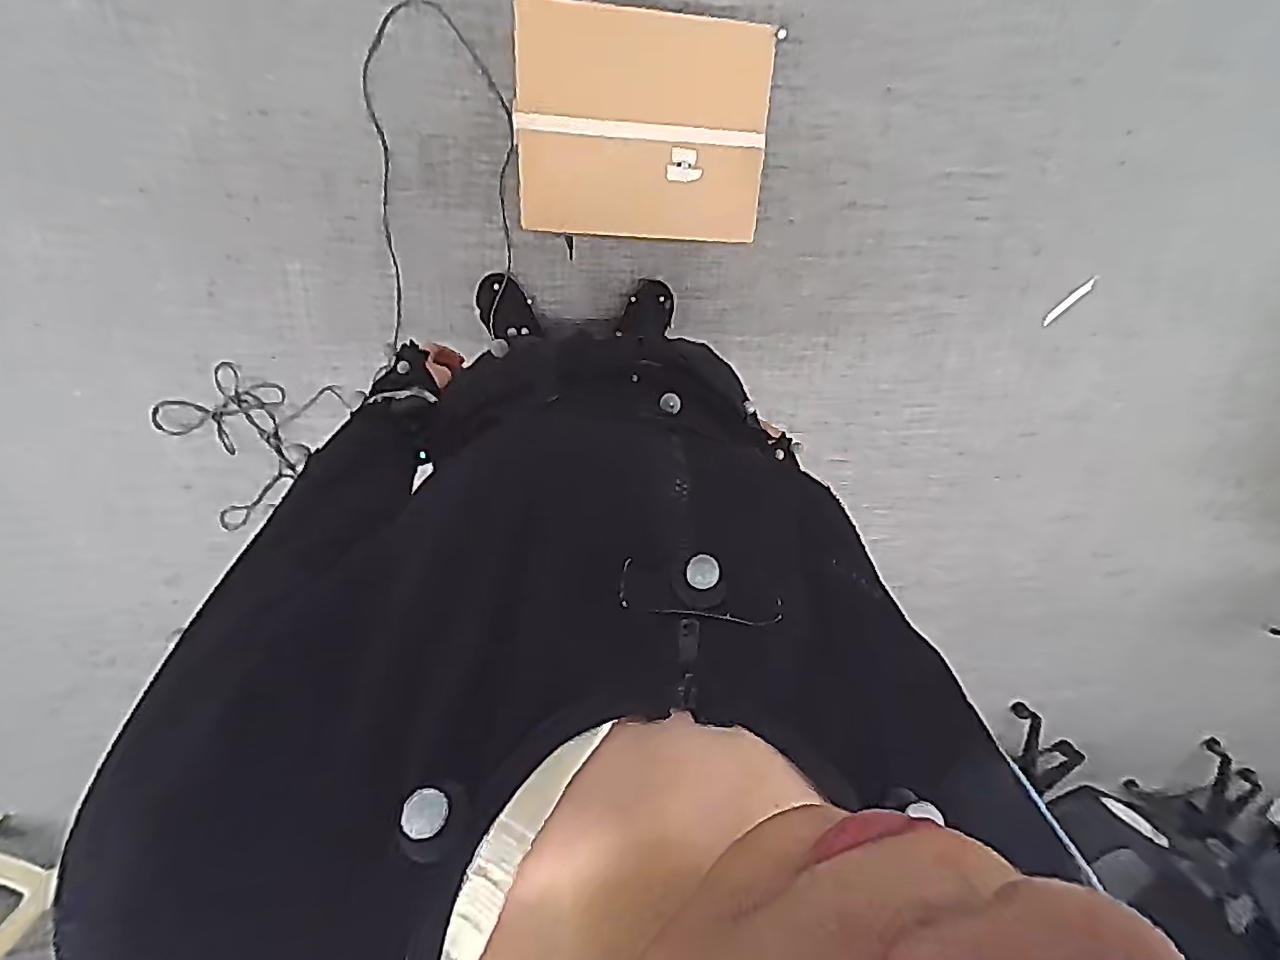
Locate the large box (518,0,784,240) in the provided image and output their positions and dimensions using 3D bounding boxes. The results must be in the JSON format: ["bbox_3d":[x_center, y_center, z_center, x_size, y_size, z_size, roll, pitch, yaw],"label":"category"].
[{"bbox_3d":[-0.006,-0.615,0.982,0.408,0.320,0.320,-1,114,-10],"label":"large box"}]
